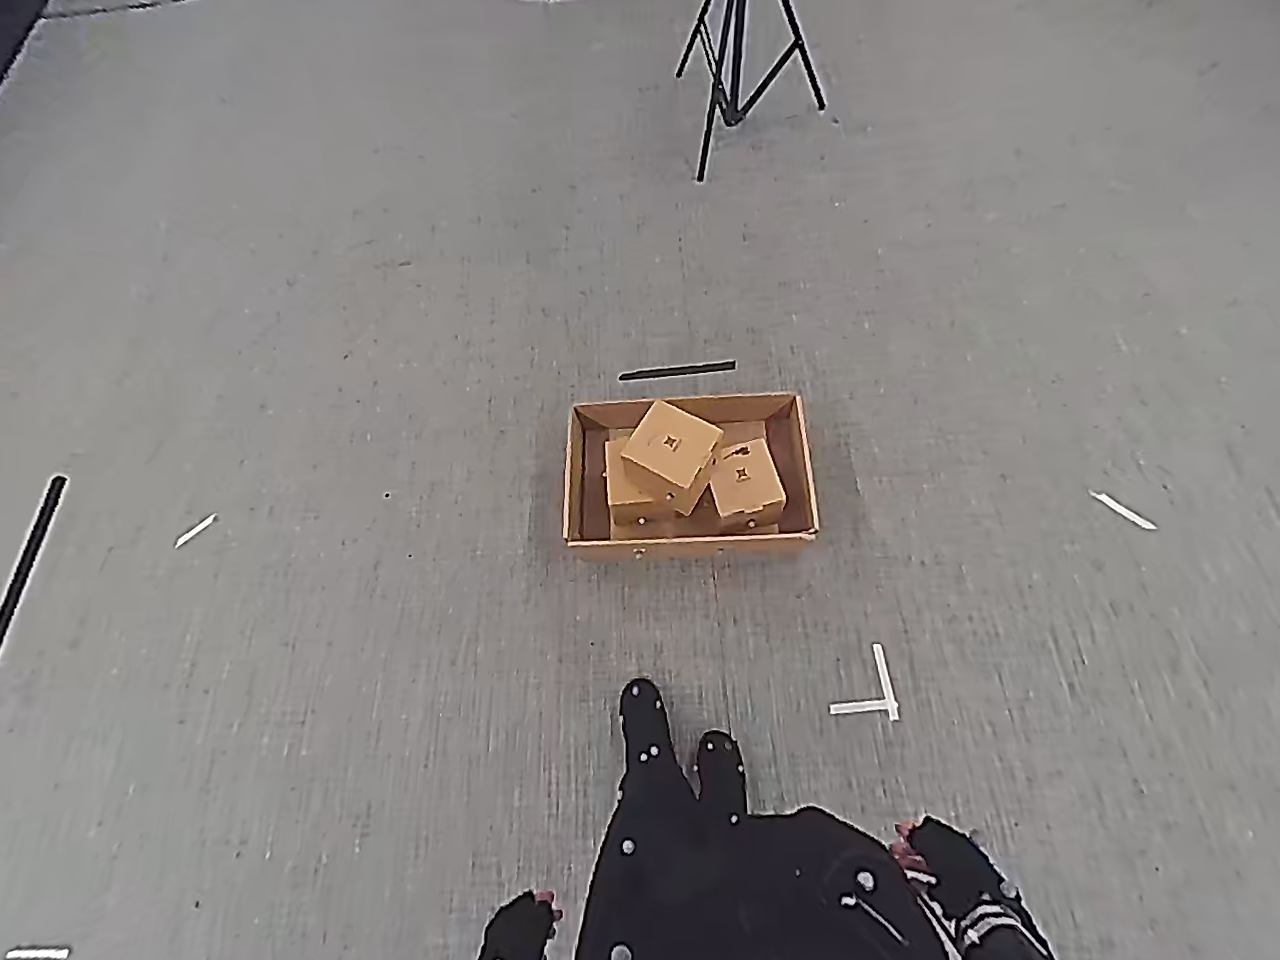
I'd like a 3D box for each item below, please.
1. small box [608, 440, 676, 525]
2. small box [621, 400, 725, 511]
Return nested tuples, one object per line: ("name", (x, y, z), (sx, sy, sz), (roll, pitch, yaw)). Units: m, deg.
("small box", (0.005, 0.007, 1.414), (0.168, 0.176, 0.179), (-5, 67, 2))
("small box", (0.079, -0.048, 1.254), (0.179, 0.176, 0.168), (27, 70, 16))
